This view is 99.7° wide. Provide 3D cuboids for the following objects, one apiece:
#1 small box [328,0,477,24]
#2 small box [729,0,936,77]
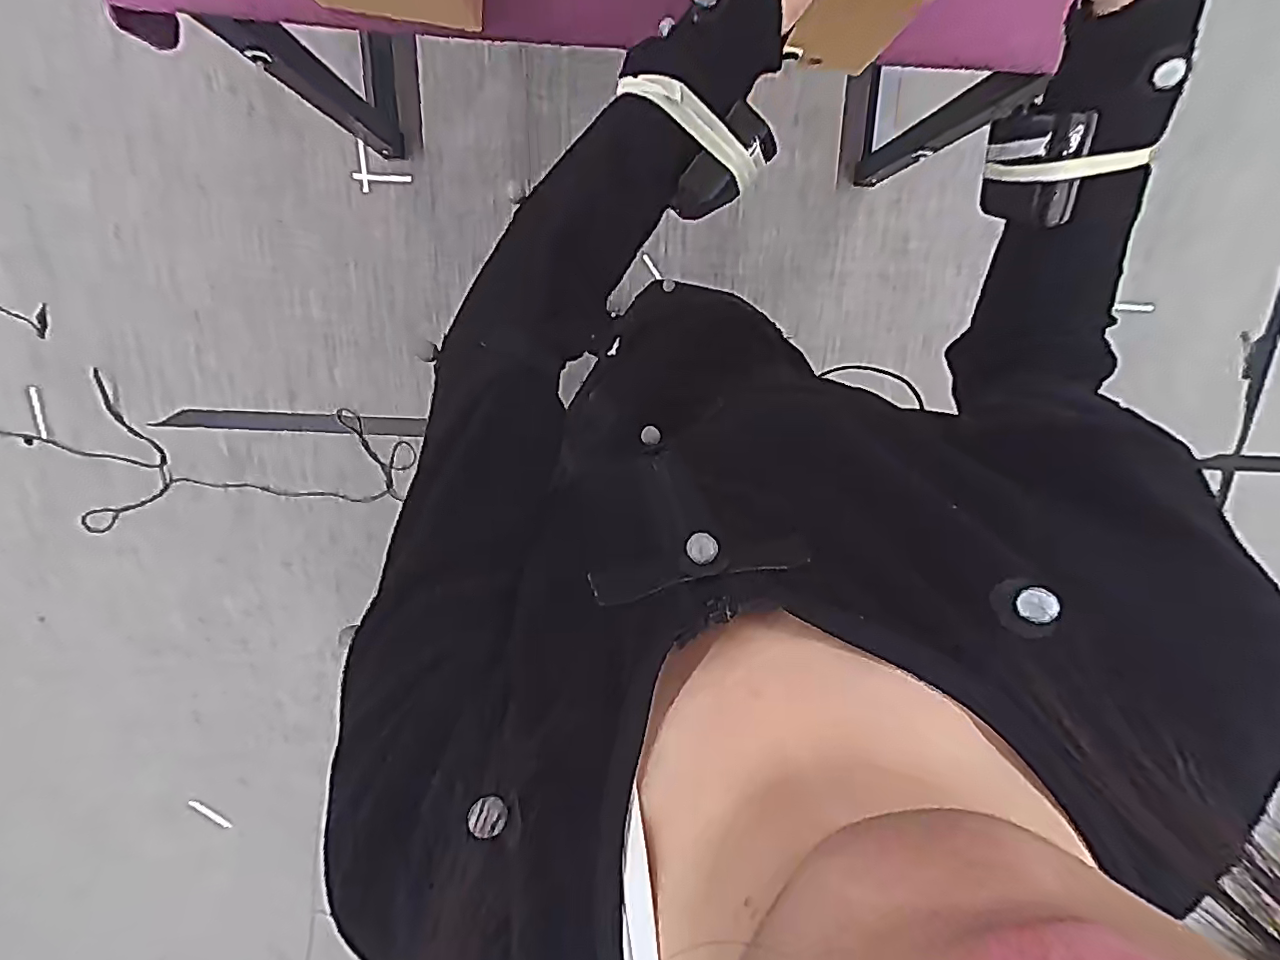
[{"bbox_3d":[-0.247,-0.566,0.499,0.179,0.176,0.168,5,105,-5],"label":"small box"},{"bbox_3d":[0.189,-0.540,0.533,0.168,0.176,0.179,2,107,-3],"label":"small box"}]
